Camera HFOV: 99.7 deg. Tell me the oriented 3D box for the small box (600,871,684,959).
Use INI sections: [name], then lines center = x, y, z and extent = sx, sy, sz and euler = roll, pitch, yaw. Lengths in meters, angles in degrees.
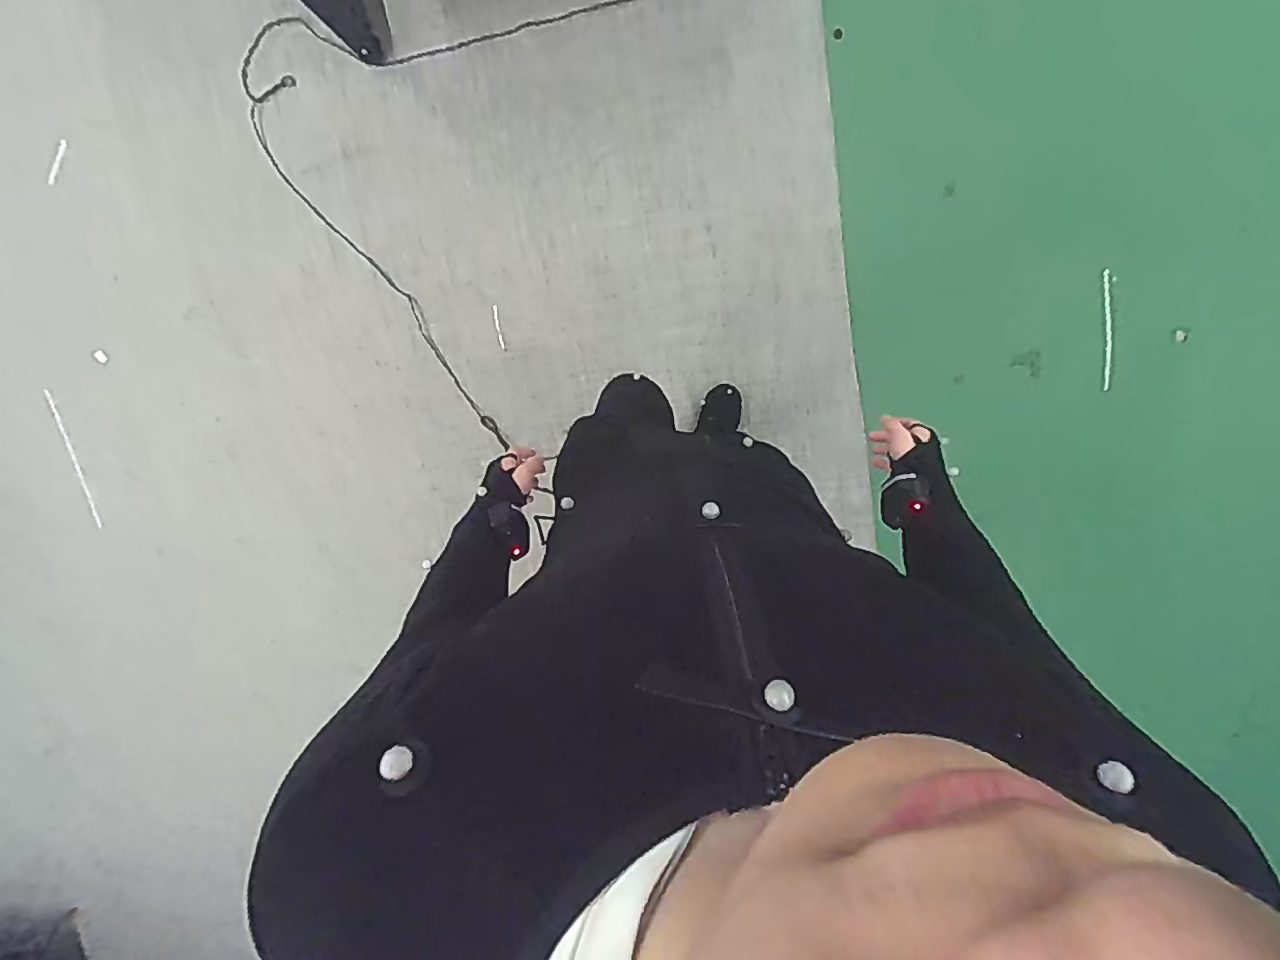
[small box]
center = 0.009, 1.109, 1.337
extent = 0.168, 0.176, 0.179
euler = -15, 100, 7
